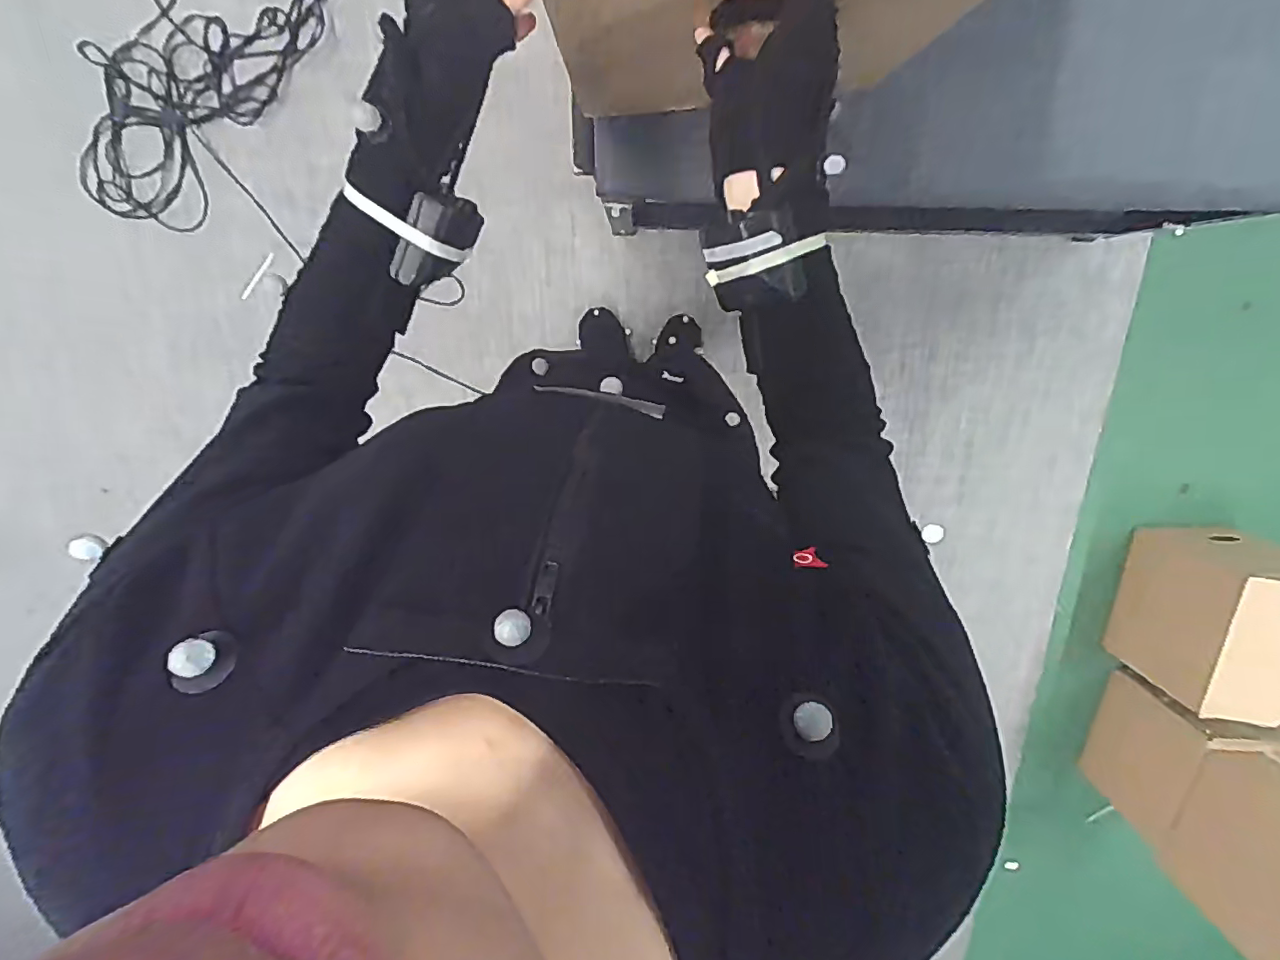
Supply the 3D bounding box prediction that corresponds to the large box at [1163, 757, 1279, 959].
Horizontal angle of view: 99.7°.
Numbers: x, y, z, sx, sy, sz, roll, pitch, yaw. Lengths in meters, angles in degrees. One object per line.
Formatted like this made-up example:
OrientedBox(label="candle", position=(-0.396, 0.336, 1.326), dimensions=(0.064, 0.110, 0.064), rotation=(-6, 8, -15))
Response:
OrientedBox(label="large box", position=(1.618, 0.951, 1.319), dimensions=(0.320, 0.320, 0.408), rotation=(2, 108, 1))
